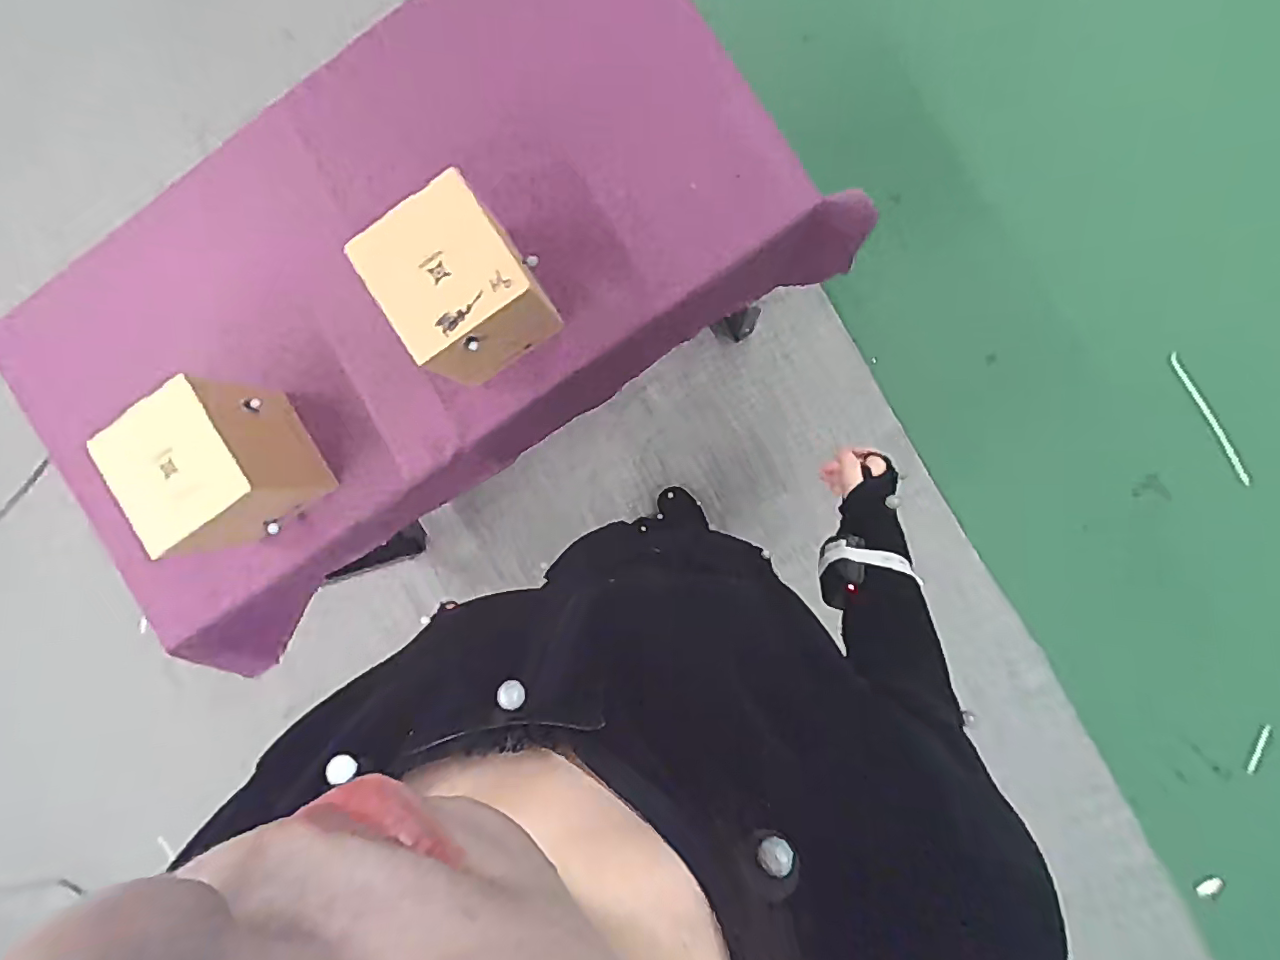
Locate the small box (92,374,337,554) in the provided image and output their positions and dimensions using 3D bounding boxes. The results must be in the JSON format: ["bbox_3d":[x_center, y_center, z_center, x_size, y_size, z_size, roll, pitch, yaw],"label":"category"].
[{"bbox_3d":[-0.579,-0.020,0.758,0.168,0.176,0.179,-32,89,6],"label":"small box"}]

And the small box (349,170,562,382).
[{"bbox_3d":[-0.230,-0.252,0.717,0.168,0.176,0.179,-33,87,7],"label":"small box"}]
